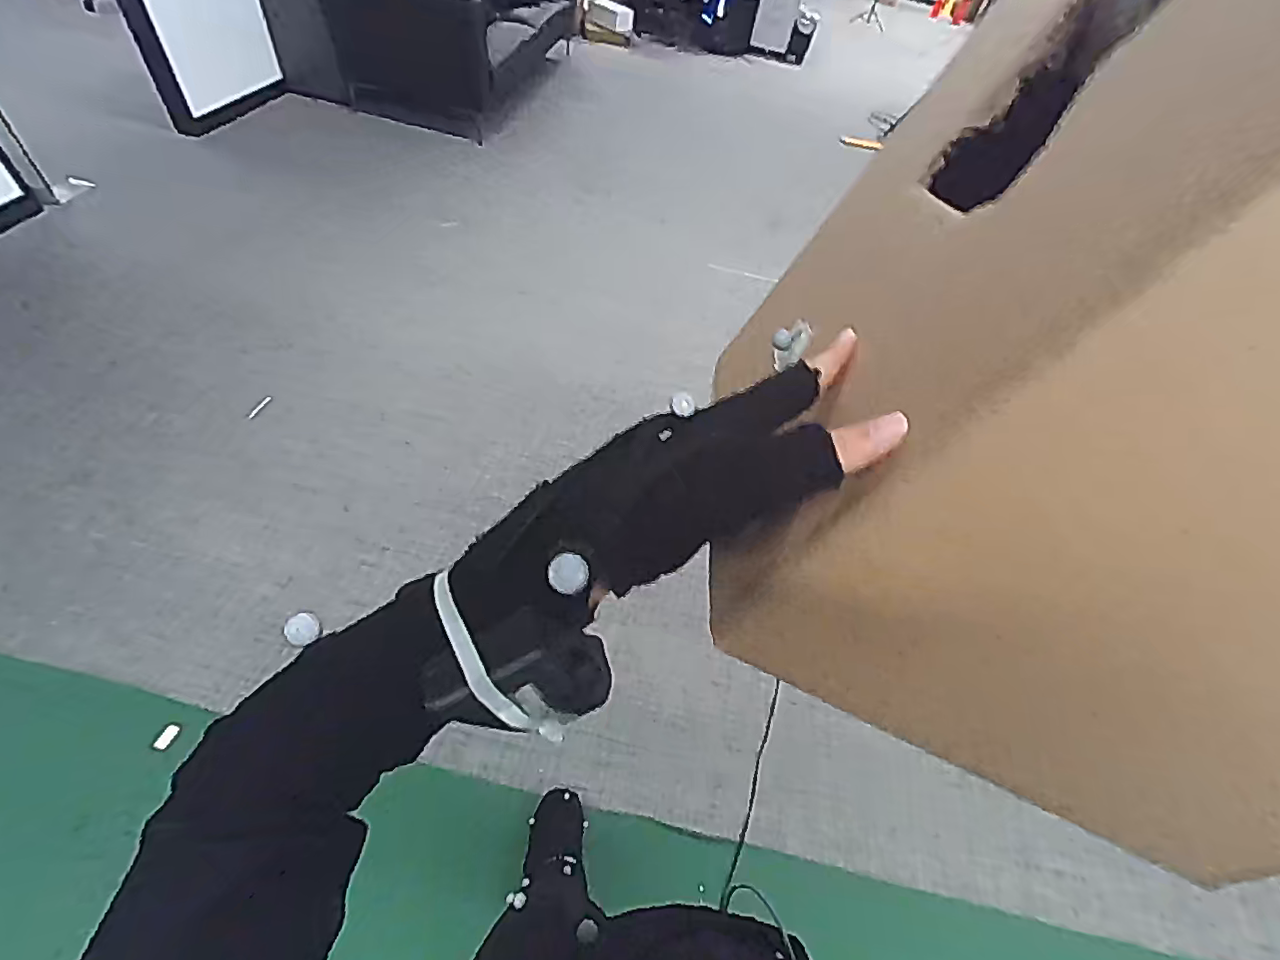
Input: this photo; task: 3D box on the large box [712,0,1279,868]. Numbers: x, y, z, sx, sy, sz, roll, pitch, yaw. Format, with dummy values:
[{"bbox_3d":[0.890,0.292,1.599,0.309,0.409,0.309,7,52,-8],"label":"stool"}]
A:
[{"bbox_3d":[0.295,-0.012,0.353,0.408,0.320,0.320,30,37,-14],"label":"large box"}]
